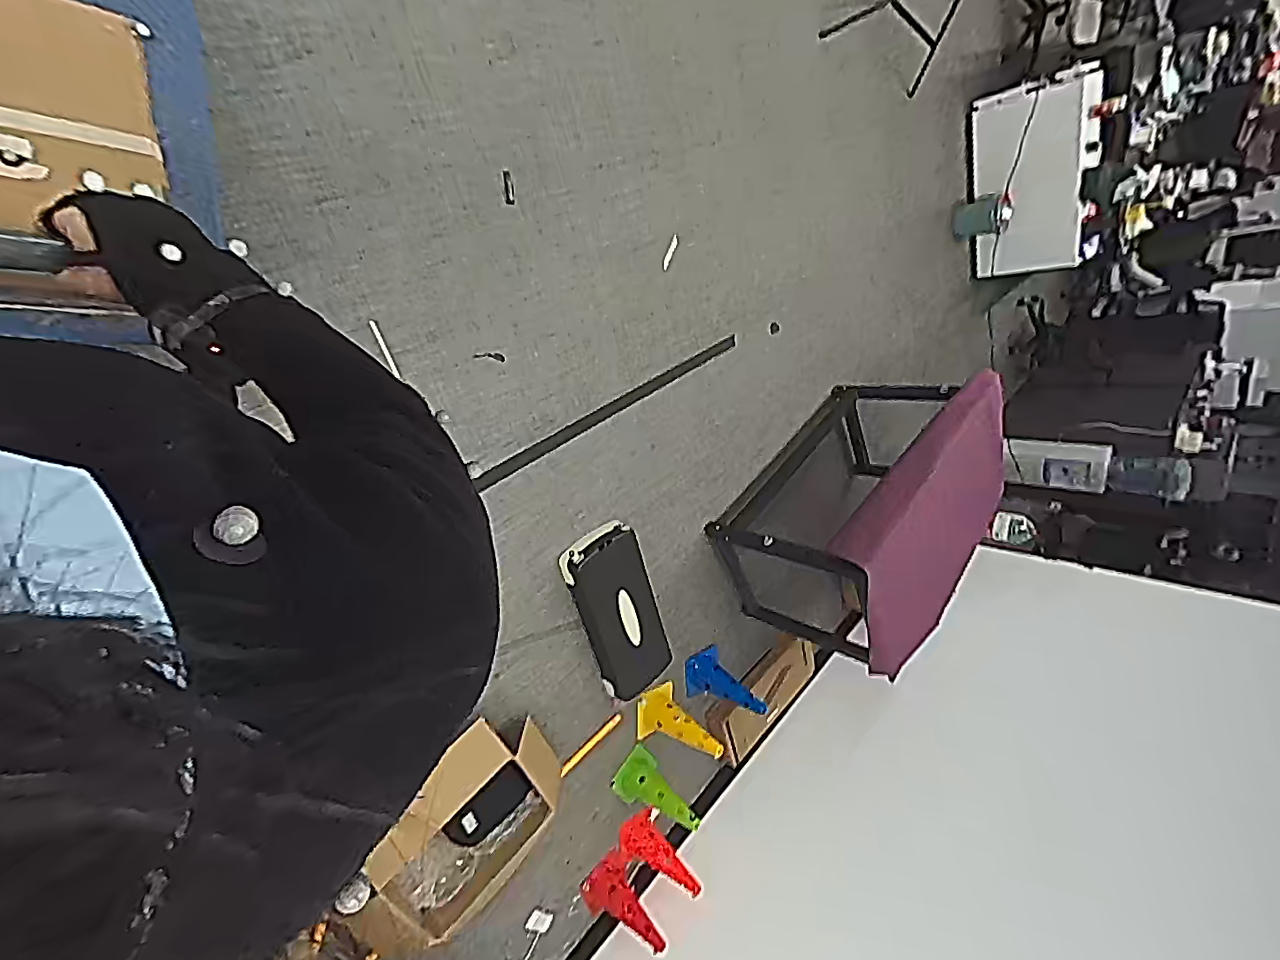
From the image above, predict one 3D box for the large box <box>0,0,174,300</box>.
[{"bbox_3d":[-0.904,-0.427,0.710,0.408,0.320,0.320,-10,104,-41],"label":"large box"}]
